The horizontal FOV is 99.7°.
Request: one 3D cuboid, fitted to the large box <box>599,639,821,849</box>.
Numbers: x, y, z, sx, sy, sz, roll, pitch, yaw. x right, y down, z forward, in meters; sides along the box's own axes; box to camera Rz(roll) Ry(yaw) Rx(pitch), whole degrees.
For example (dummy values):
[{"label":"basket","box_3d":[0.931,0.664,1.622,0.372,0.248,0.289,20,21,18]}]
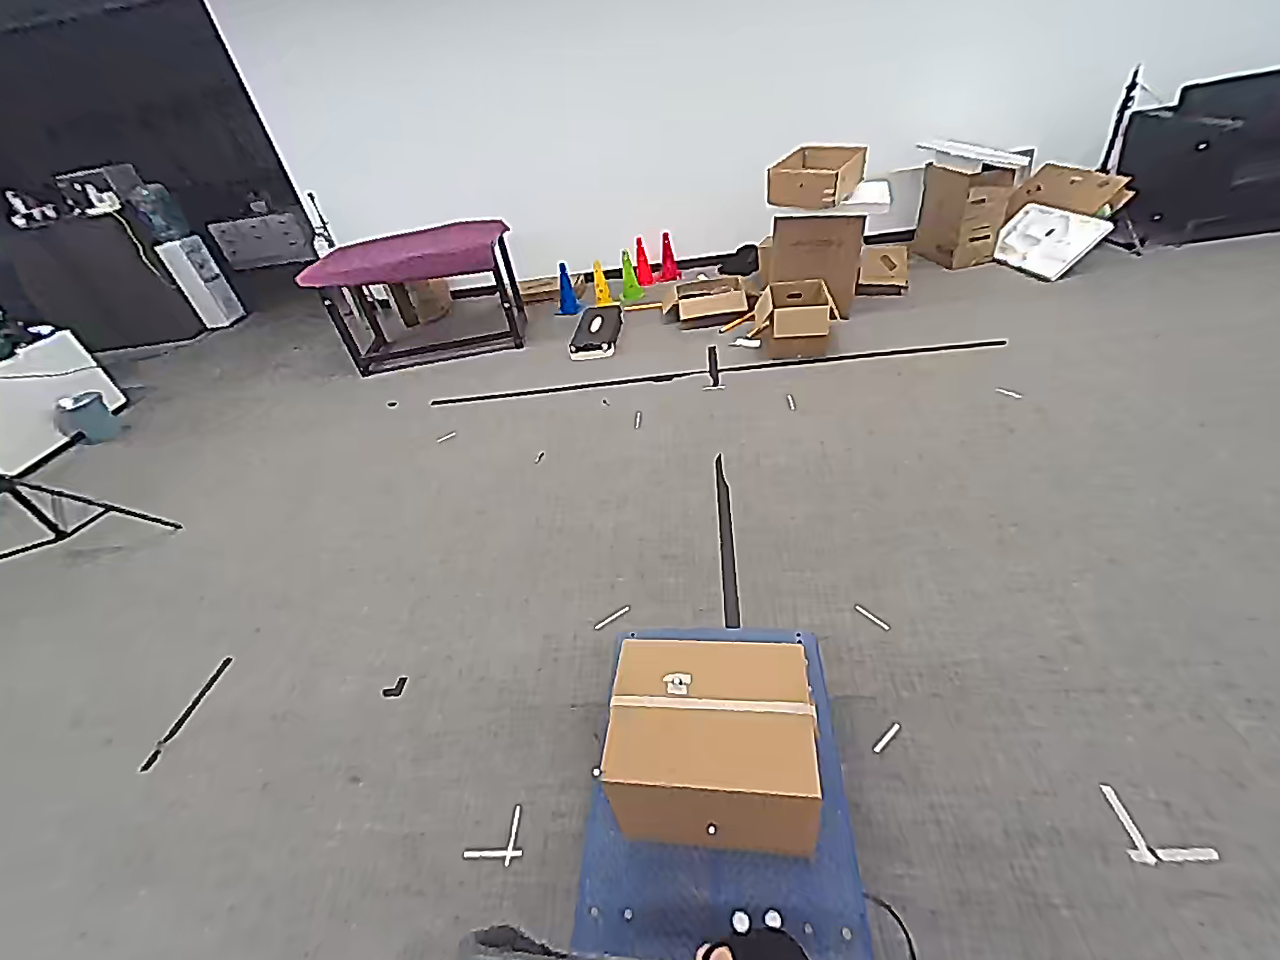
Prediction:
[{"label":"large box","box_3d":[0.159,0.567,1.175,0.408,0.320,0.320,-3,38,11]}]
